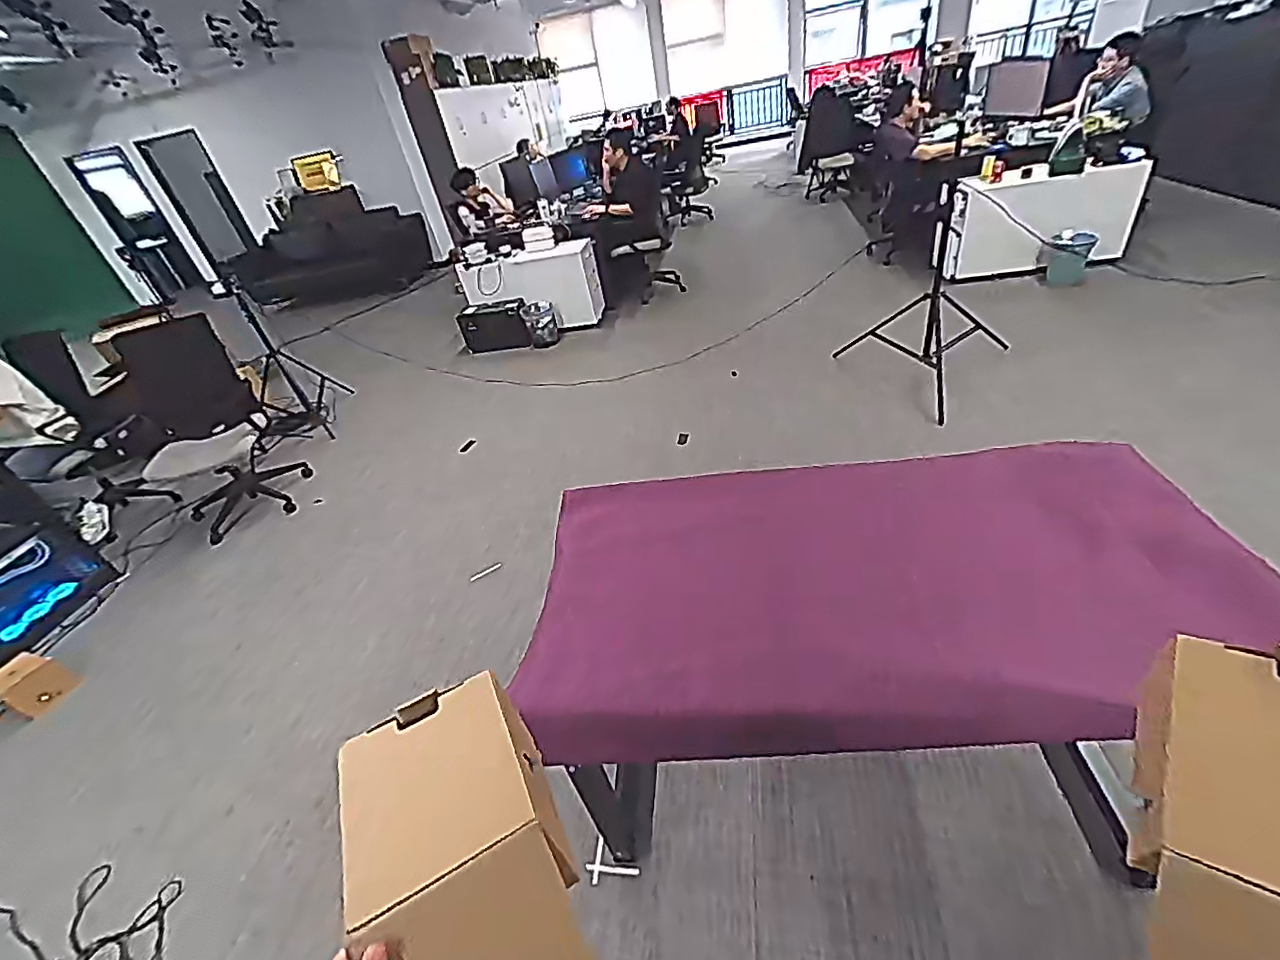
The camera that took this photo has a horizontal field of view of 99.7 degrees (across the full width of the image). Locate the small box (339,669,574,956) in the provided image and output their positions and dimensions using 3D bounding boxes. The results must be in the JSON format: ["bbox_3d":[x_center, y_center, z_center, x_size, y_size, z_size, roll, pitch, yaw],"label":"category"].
[{"bbox_3d":[-0.185,0.343,0.559,0.168,0.176,0.179,-25,39,-16],"label":"small box"}]
